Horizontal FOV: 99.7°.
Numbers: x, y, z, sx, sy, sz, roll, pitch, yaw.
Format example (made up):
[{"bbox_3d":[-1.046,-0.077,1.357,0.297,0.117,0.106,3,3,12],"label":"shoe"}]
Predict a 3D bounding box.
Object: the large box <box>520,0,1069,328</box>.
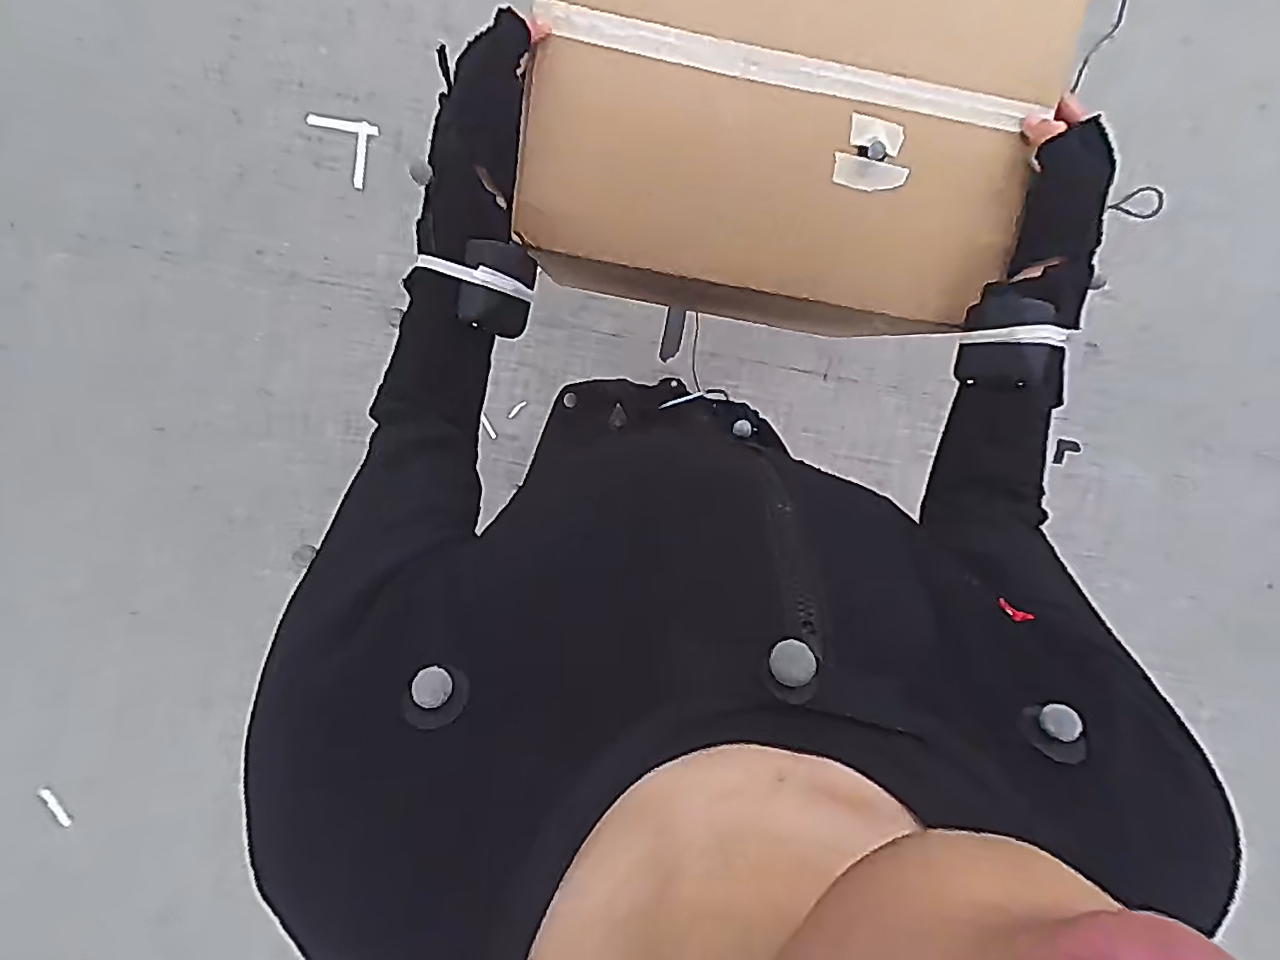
[{"bbox_3d":[0.109,-0.347,0.561,0.408,0.320,0.320,8,105,-6],"label":"large box"}]
